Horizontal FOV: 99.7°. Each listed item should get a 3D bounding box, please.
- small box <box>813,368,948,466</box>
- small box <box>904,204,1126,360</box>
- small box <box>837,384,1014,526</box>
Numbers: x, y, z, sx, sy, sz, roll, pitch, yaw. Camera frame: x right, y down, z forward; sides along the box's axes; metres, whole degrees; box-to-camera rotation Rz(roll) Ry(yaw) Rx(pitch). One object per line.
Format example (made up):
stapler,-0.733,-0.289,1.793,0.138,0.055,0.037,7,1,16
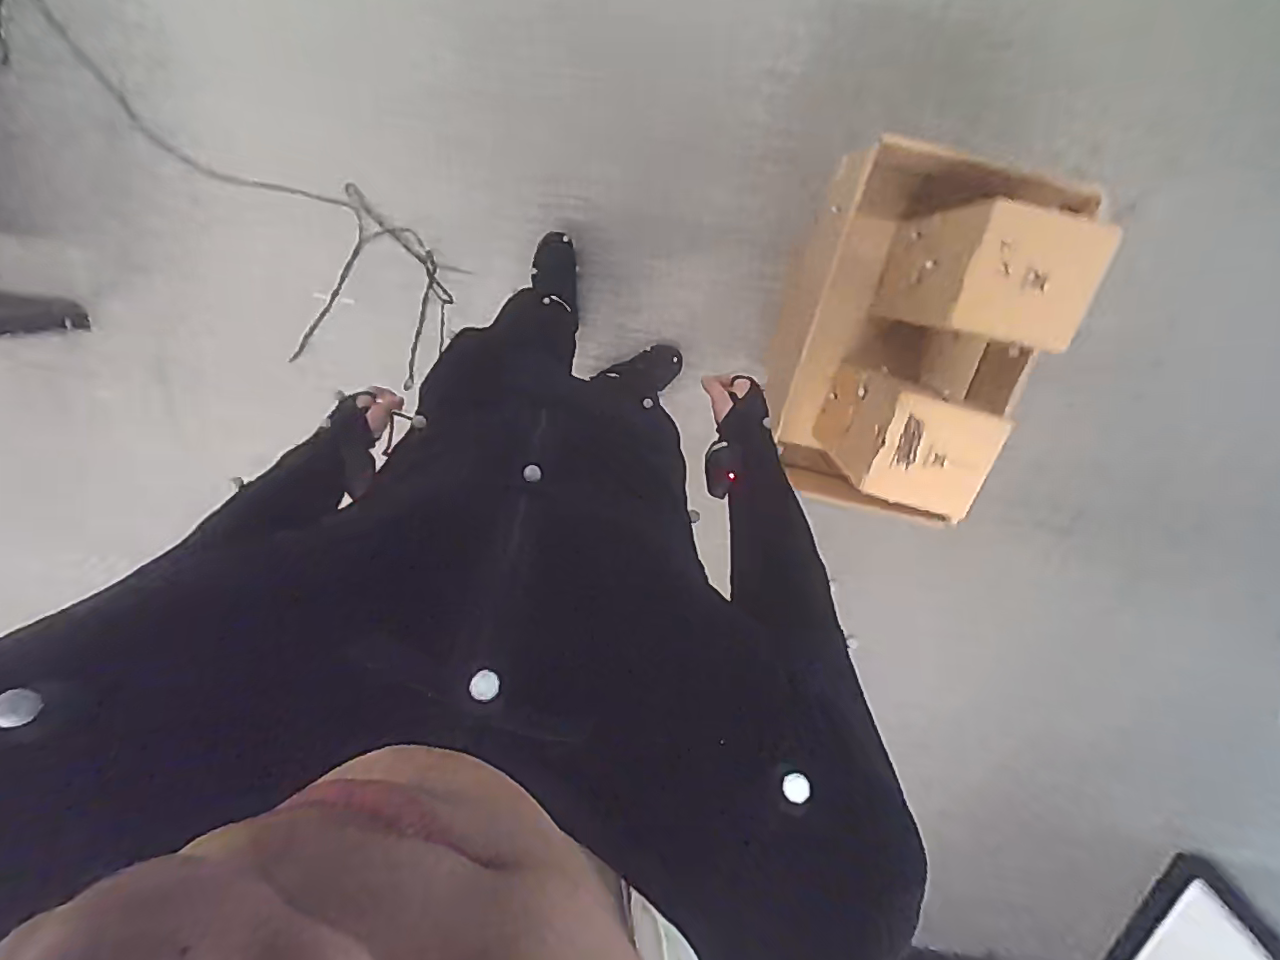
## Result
small box,0.461,-0.108,1.044,0.179,0.176,0.168,15,110,-1
small box,0.531,-0.288,0.797,0.179,0.176,0.168,13,110,-2
small box,0.450,-0.051,0.890,0.179,0.176,0.168,16,110,-2
